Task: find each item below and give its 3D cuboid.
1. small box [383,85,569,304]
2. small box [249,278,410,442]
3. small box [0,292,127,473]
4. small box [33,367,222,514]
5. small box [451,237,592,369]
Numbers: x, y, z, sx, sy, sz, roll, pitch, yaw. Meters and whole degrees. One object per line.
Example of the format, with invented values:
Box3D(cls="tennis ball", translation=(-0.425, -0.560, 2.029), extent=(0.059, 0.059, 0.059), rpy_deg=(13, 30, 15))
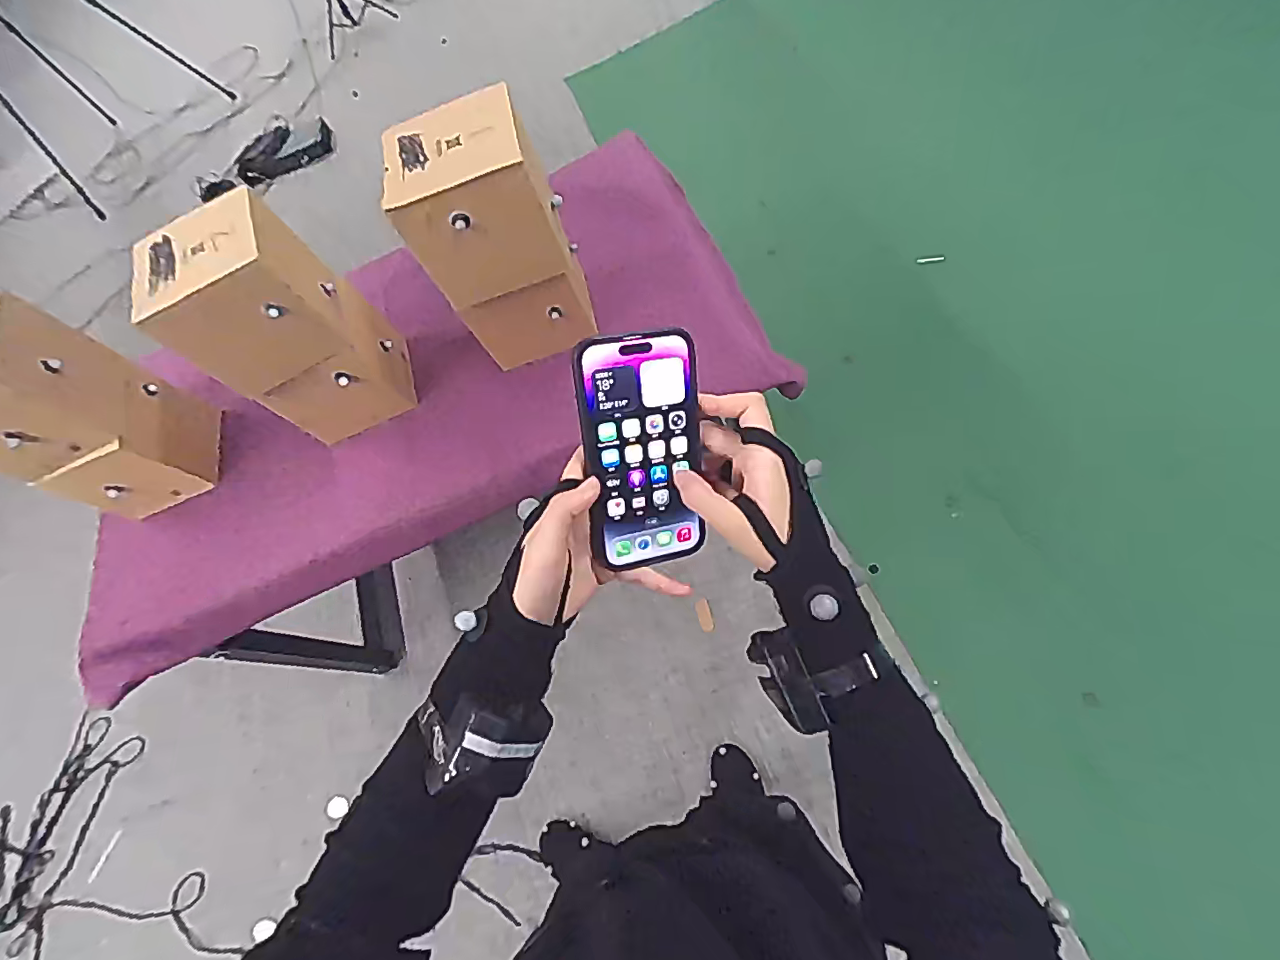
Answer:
Box3D(cls="small box", translation=(-0.213, -0.367, 0.720), extent=(0.179, 0.176, 0.168), rpy_deg=(-17, 63, 6))
Box3D(cls="small box", translation=(-0.505, -0.191, 0.901), extent=(0.179, 0.176, 0.168), rpy_deg=(-23, 63, 4))
Box3D(cls="small box", translation=(-0.912, -0.129, 0.795), extent=(0.168, 0.176, 0.179), rpy_deg=(-27, 63, 1))
Box3D(cls="small box", translation=(-0.871, -0.057, 0.937), extent=(0.168, 0.176, 0.179), rpy_deg=(-22, 63, 4))
Box3D(cls="small box", translation=(-0.187, -0.311, 0.873), extent=(0.179, 0.176, 0.168), rpy_deg=(-18, 63, 7))
